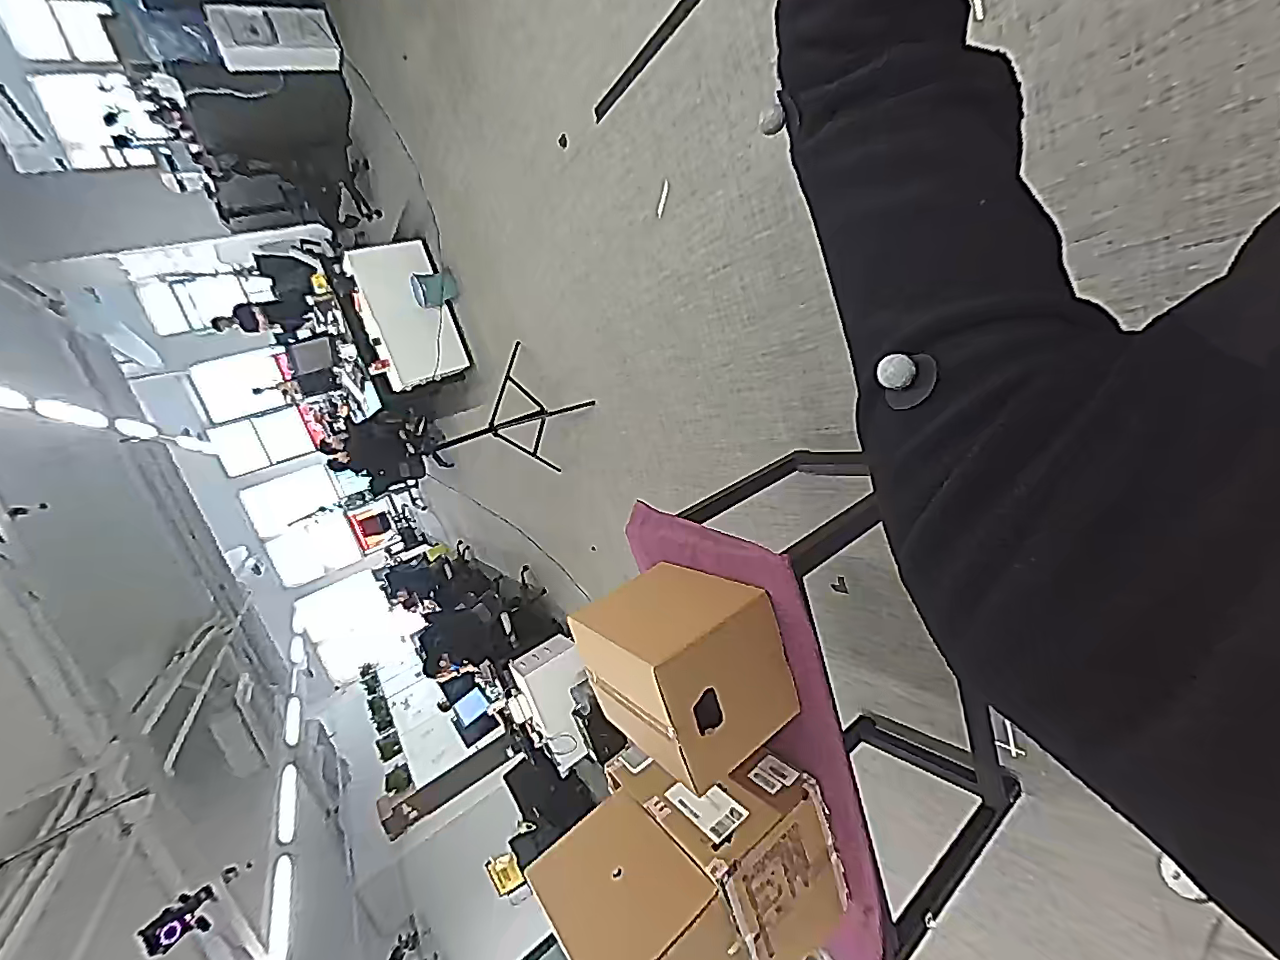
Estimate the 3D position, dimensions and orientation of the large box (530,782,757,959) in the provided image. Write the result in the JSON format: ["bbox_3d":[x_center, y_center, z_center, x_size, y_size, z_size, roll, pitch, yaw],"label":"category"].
[{"bbox_3d":[-0.002,1.014,1.264,0.408,0.320,0.320,6,121,58],"label":"large box"}]
